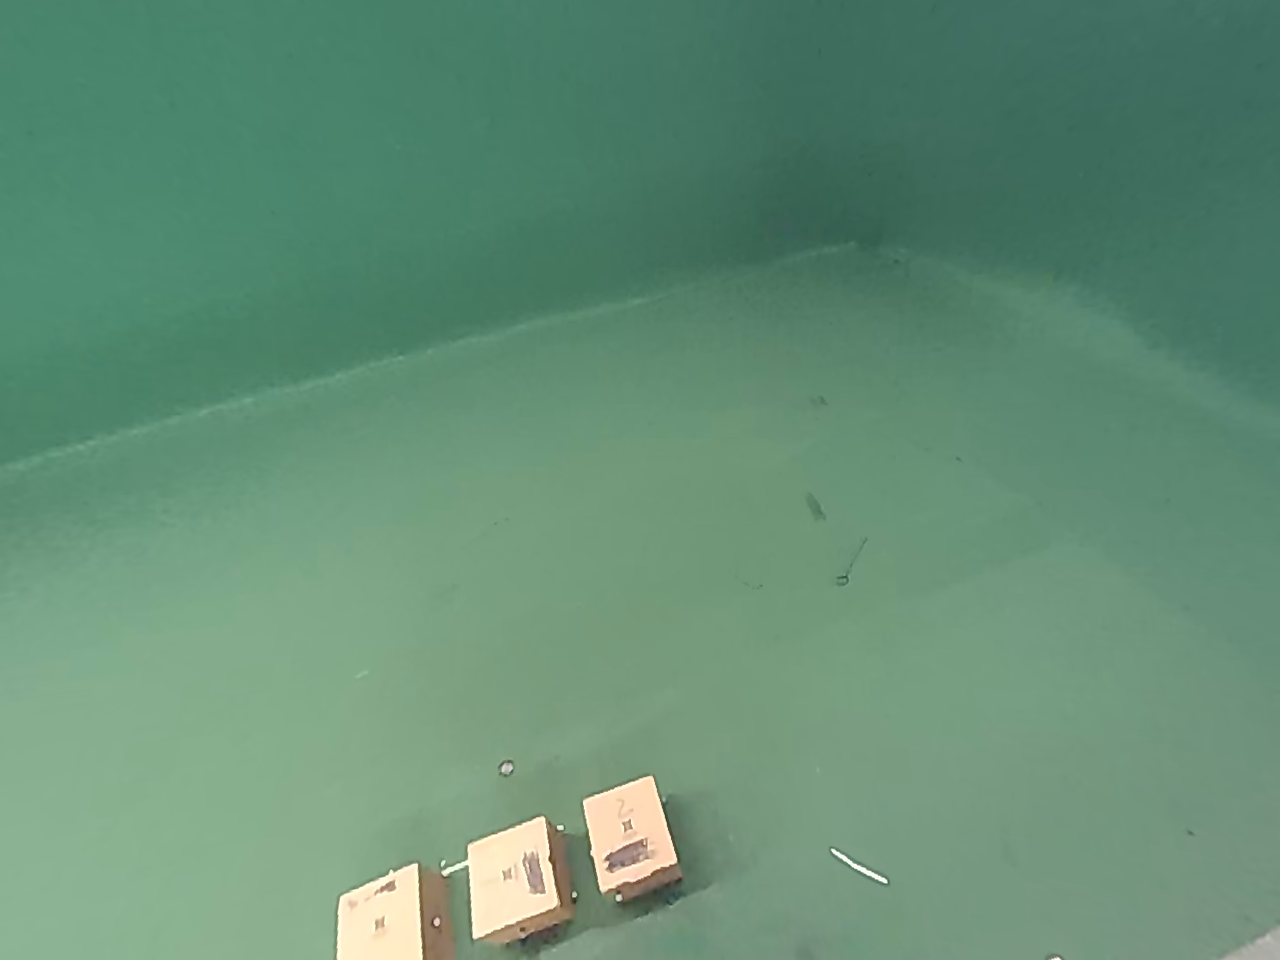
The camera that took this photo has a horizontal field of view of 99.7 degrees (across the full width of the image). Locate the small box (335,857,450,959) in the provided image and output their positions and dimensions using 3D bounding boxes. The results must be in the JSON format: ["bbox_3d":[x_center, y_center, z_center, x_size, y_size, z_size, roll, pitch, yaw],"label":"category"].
[{"bbox_3d":[-0.513,0.932,1.136,0.168,0.176,0.179,-19,48,-9],"label":"small box"}]
